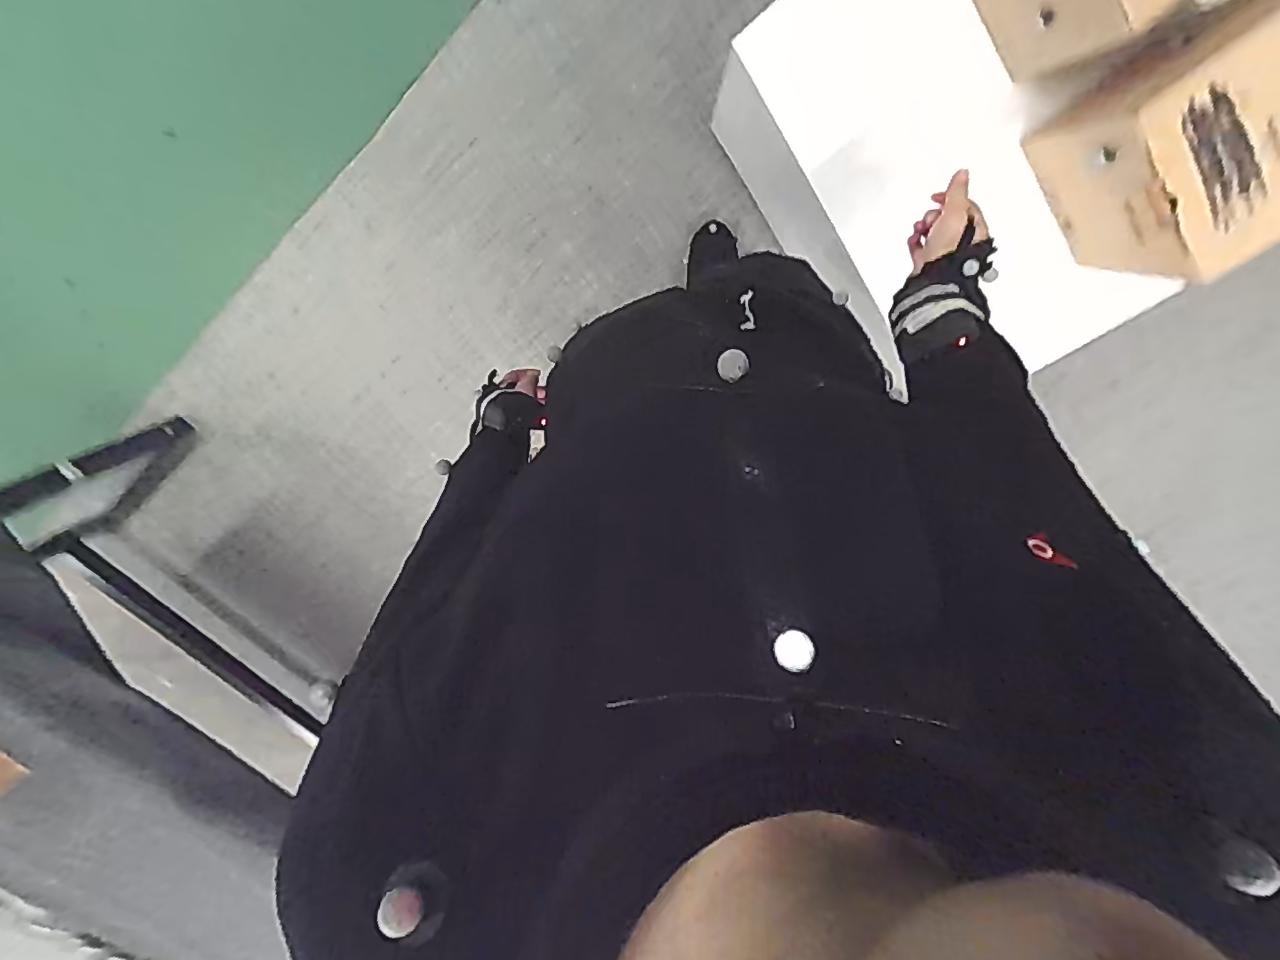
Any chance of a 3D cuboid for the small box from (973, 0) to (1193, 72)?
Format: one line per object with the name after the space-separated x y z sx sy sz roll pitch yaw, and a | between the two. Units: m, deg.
0.384 -0.469 0.428 0.168 0.176 0.179 -37 107 19 | small box
